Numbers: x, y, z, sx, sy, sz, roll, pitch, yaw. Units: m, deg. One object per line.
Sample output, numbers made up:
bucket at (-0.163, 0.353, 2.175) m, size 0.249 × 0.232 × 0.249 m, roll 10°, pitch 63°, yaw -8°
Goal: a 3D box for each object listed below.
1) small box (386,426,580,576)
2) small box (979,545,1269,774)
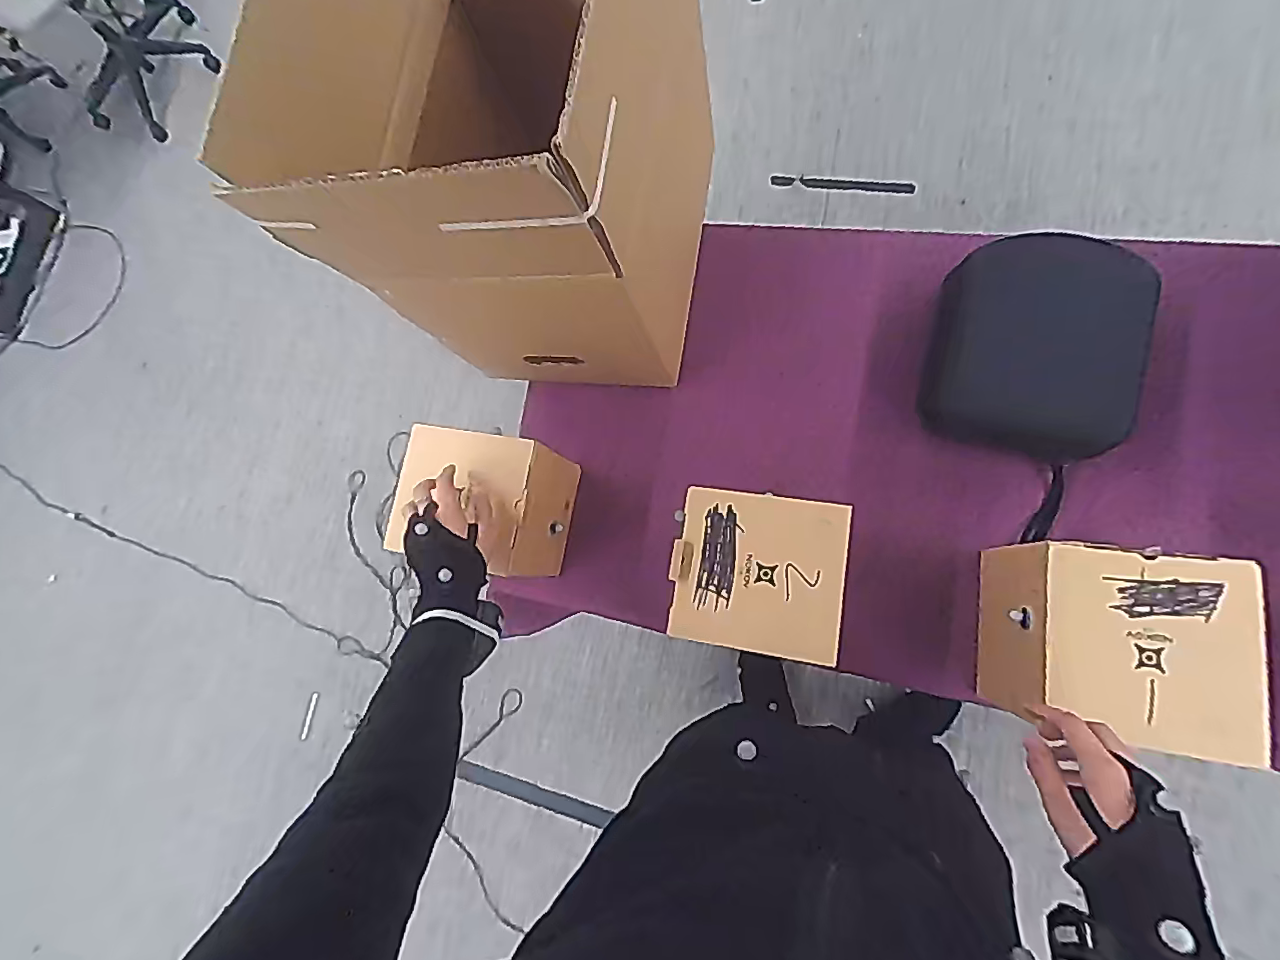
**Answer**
small box at (-0.202, 0.036, 0.740) m, size 0.179 × 0.176 × 0.168 m, roll 9°, pitch 82°, yaw 13°
small box at (0.472, 0.168, 0.558) m, size 0.168 × 0.176 × 0.179 m, roll 5°, pitch 81°, yaw 14°
